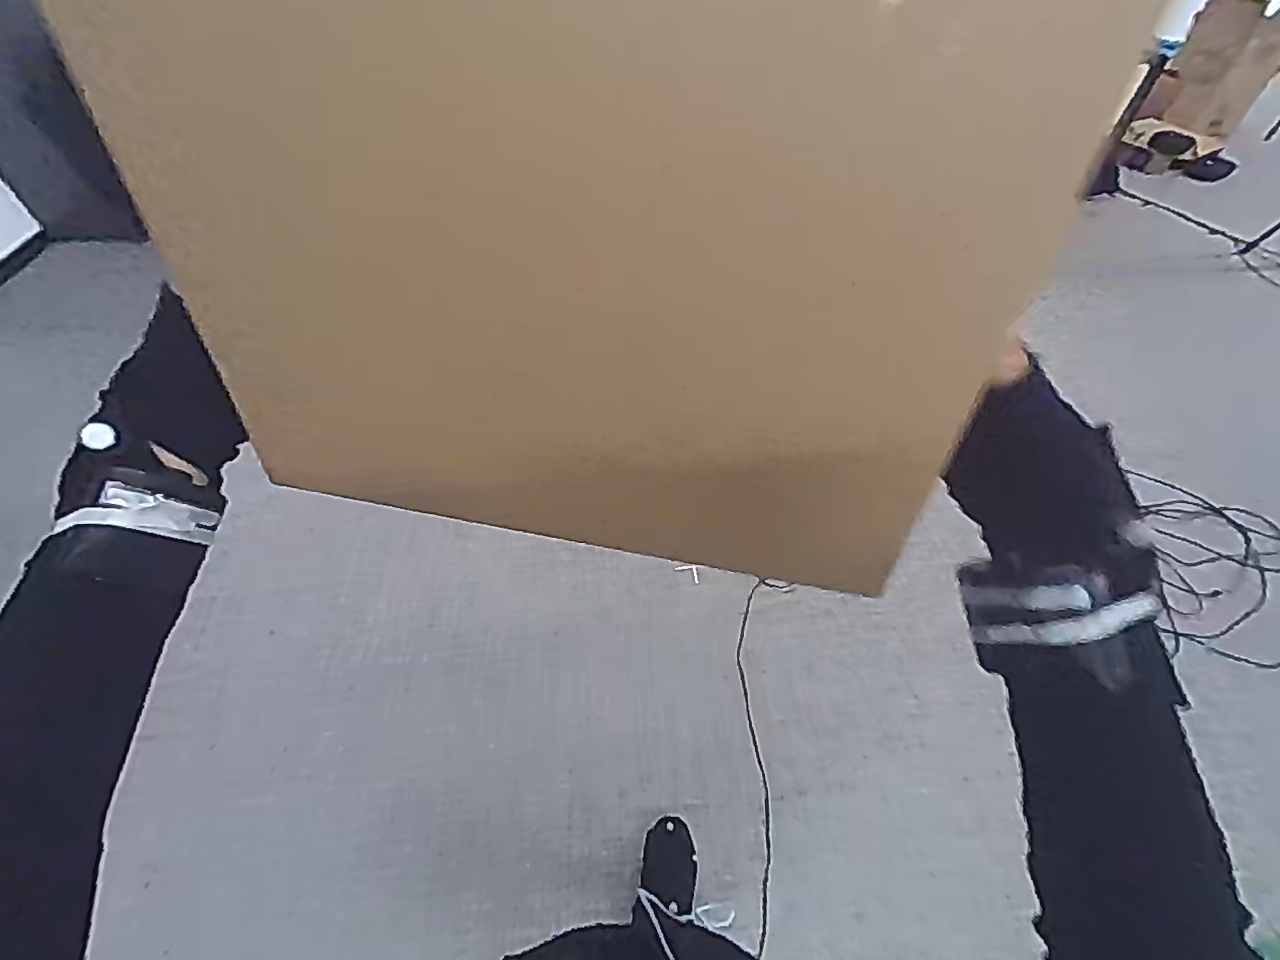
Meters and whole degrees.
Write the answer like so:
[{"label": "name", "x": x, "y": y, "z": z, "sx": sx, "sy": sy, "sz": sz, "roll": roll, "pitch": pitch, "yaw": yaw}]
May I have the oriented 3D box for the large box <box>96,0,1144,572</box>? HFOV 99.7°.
[{"label": "large box", "x": -0.014, "y": -0.176, "z": 0.379, "sx": 0.408, "sy": 0.320, "sz": 0.320, "roll": 10, "pitch": 39, "yaw": 7}]
